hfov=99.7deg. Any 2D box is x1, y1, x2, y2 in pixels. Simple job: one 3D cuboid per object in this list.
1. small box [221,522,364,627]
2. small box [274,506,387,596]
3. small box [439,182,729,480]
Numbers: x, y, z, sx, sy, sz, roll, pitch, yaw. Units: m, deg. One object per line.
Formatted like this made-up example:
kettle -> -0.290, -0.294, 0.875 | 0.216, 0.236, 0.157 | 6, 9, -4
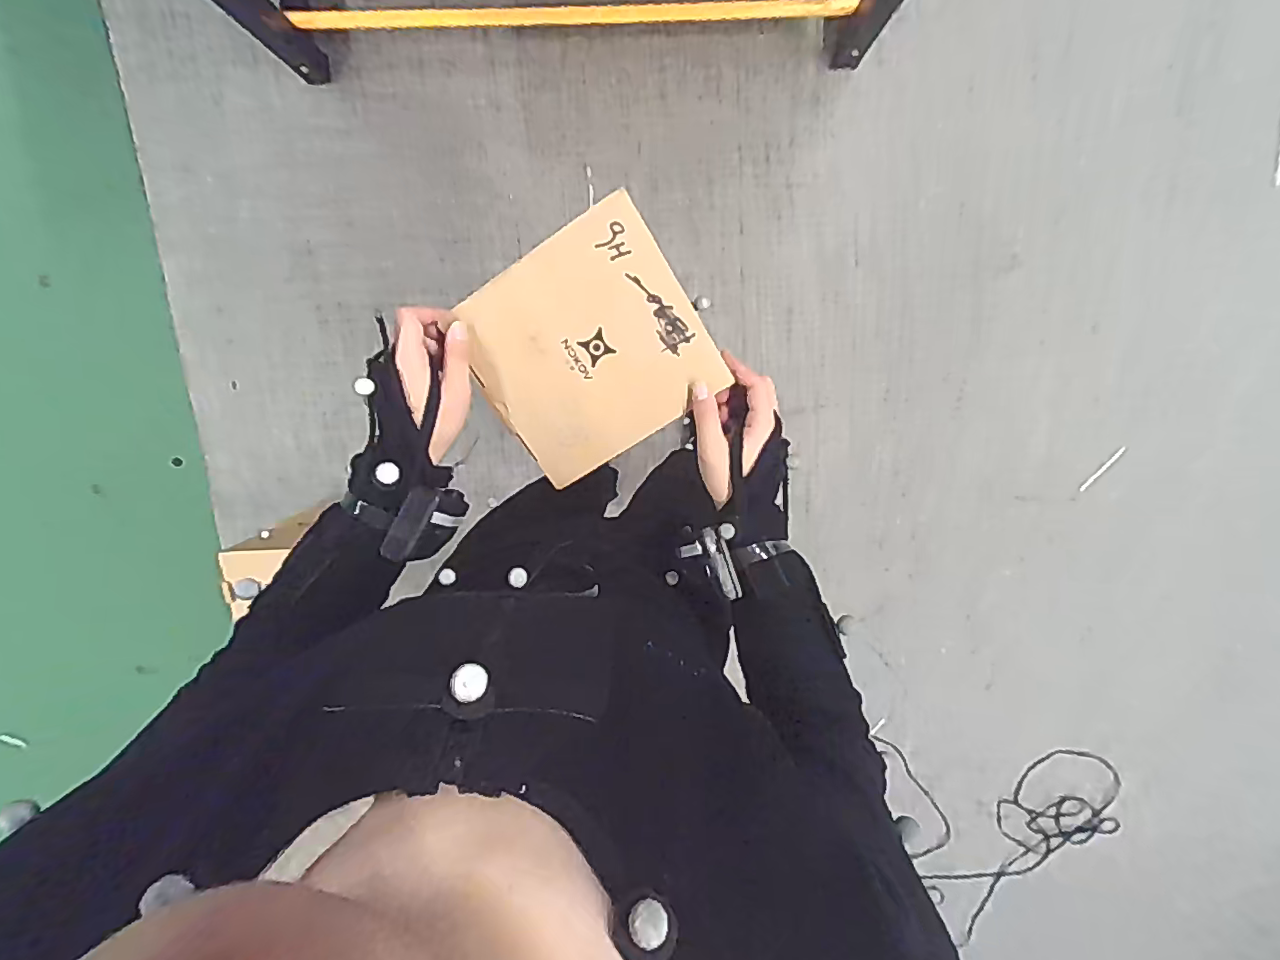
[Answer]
small box -> -0.713, 0.191, 1.128 | 0.179, 0.176, 0.168 | -4, 103, 0
small box -> -0.727, 0.163, 1.289 | 0.168, 0.176, 0.179 | 0, 102, 0
small box -> -0.039, -0.131, 0.495 | 0.179, 0.176, 0.168 | -31, 106, 12
